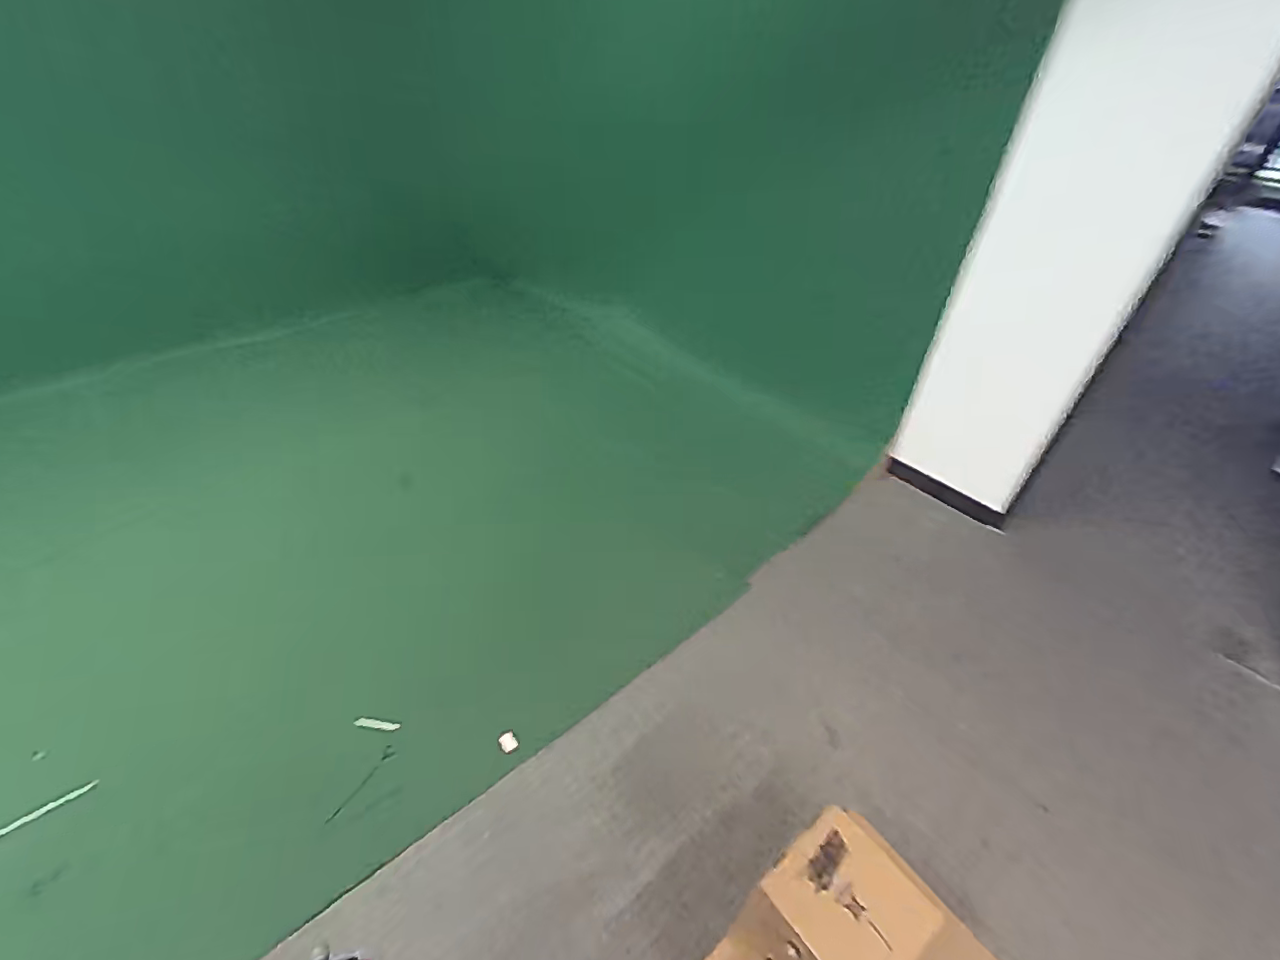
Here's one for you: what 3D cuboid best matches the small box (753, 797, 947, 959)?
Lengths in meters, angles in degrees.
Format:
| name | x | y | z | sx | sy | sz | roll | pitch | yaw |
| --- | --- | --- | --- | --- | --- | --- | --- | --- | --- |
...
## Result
| name | x | y | z | sx | sy | sz | roll | pitch | yaw |
| --- | --- | --- | --- | --- | --- | --- | --- | --- | --- |
| small box | 0.280 | 0.603 | 0.759 | 0.168 | 0.176 | 0.179 | -27 | 47 | -29 |

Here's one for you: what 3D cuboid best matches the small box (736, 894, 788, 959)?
| name | x | y | z | sx | sy | sz | roll | pitch | yaw |
| --- | --- | --- | --- | --- | --- | --- | --- | --- | --- |
| small box | 0.276 | 0.726 | 0.872 | 0.179 | 0.176 | 0.168 | -25 | 47 | -29 |
